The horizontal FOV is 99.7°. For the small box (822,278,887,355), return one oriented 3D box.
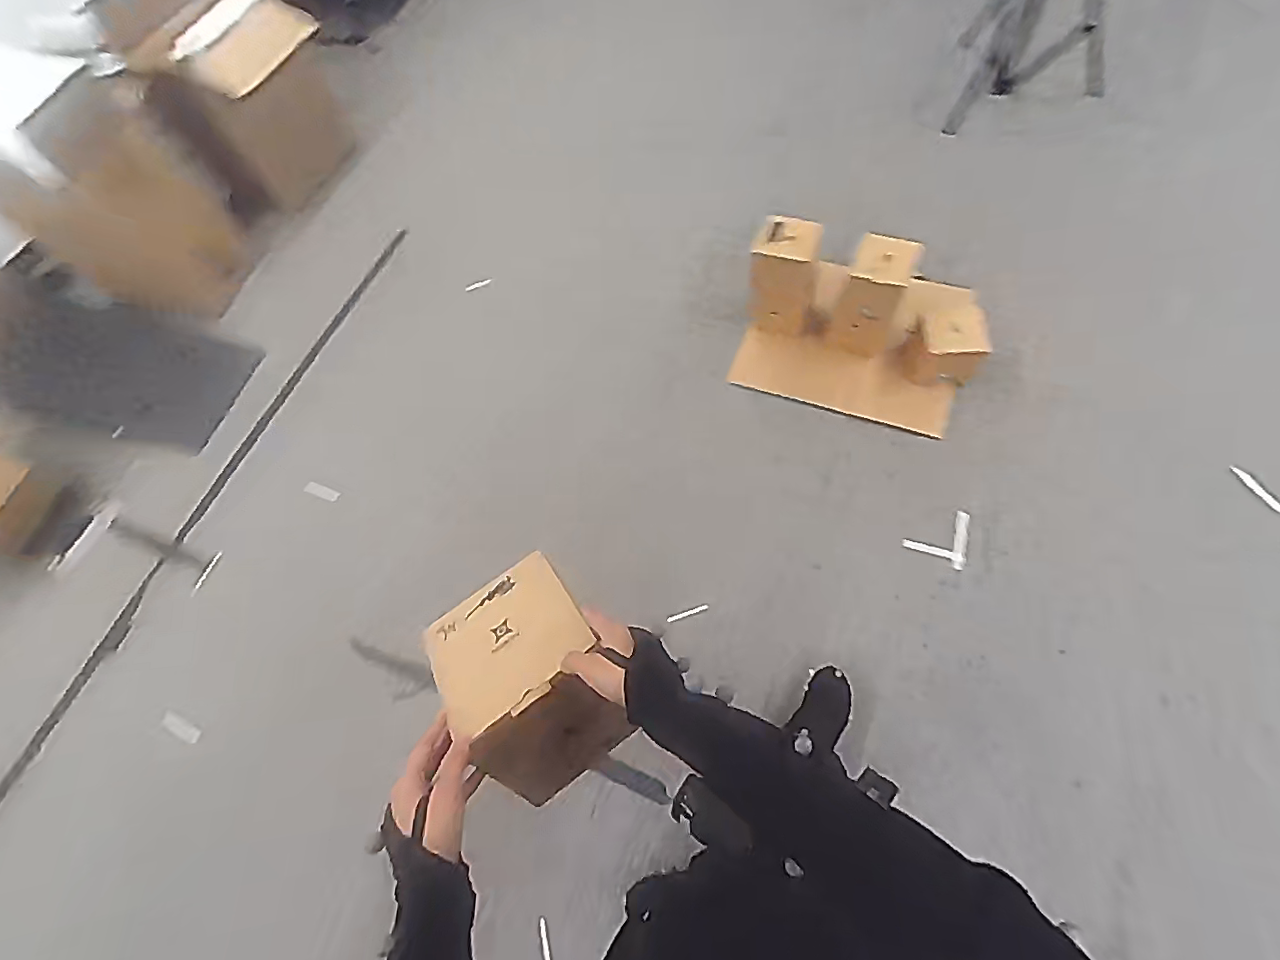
[{"bbox_3d":[0.721,-0.538,1.780,0.179,0.176,0.168,20,70,17],"label":"small box"}]

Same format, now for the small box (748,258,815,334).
[{"bbox_3d":[0.482,-0.626,1.857,0.179,0.176,0.168,18,69,18],"label":"small box"}]

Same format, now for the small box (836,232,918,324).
[{"bbox_3d":[0.707,-0.605,1.629,0.168,0.176,0.179,20,71,17],"label":"small box"}]

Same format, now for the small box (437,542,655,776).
[{"bbox_3d":[-0.106,0.214,0.635,0.168,0.176,0.179,-34,41,-10],"label":"small box"}]

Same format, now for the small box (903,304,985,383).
[{"bbox_3d":[0.941,-0.423,1.690,0.168,0.176,0.179,-1,64,10],"label":"small box"}]
